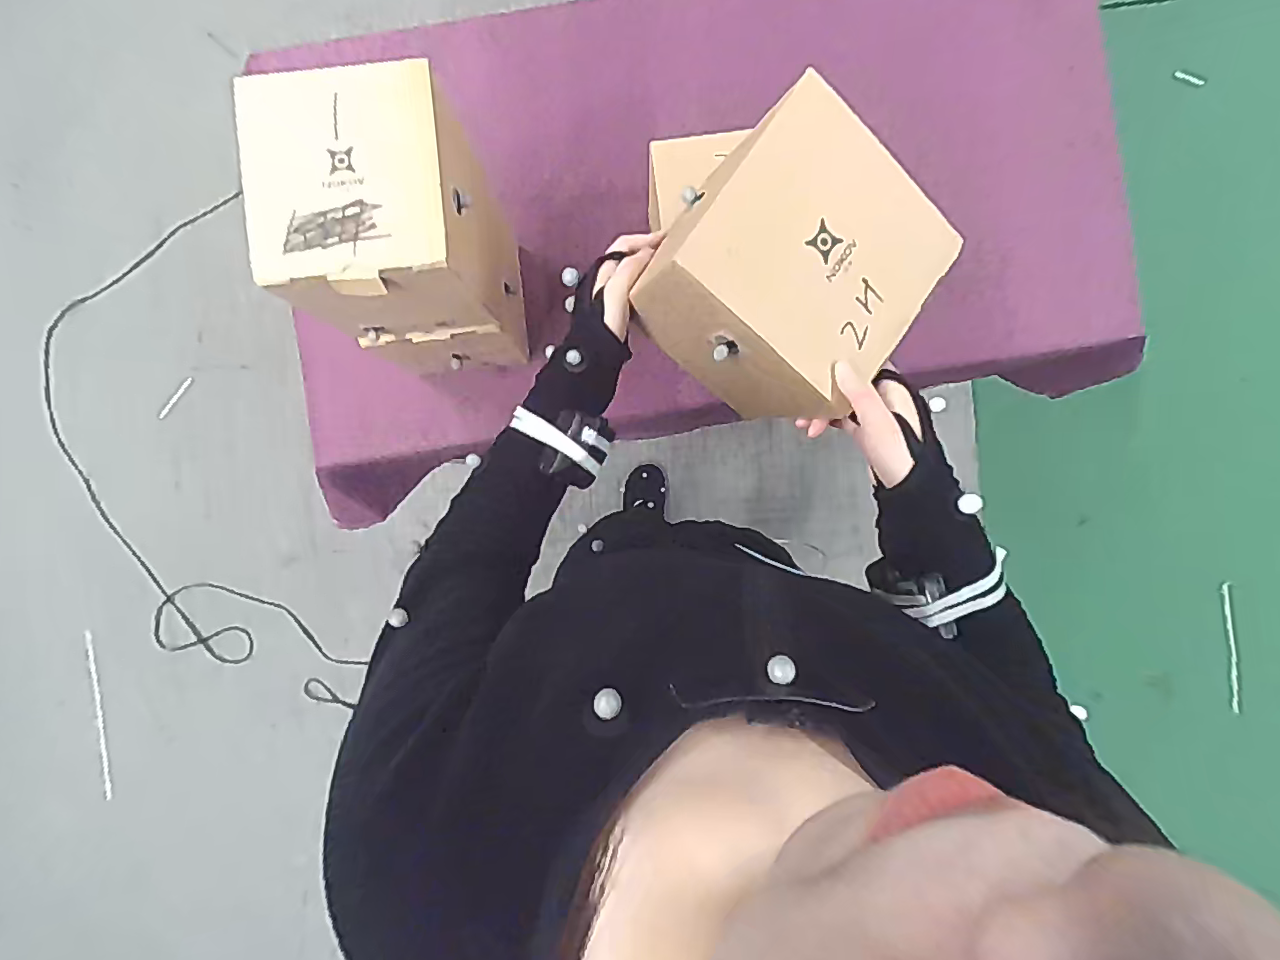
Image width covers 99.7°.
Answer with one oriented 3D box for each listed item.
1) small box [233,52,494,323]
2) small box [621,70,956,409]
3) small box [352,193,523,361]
[{"bbox_3d":[-0.247,-0.260,0.525,0.168,0.176,0.179,-5,89,-1],"label":"small box"},{"bbox_3d":[0.108,-0.174,0.459,0.179,0.176,0.168,38,86,-18],"label":"small box"},{"bbox_3d":[-0.251,-0.253,0.690,0.168,0.176,0.179,-6,91,-2],"label":"small box"}]
